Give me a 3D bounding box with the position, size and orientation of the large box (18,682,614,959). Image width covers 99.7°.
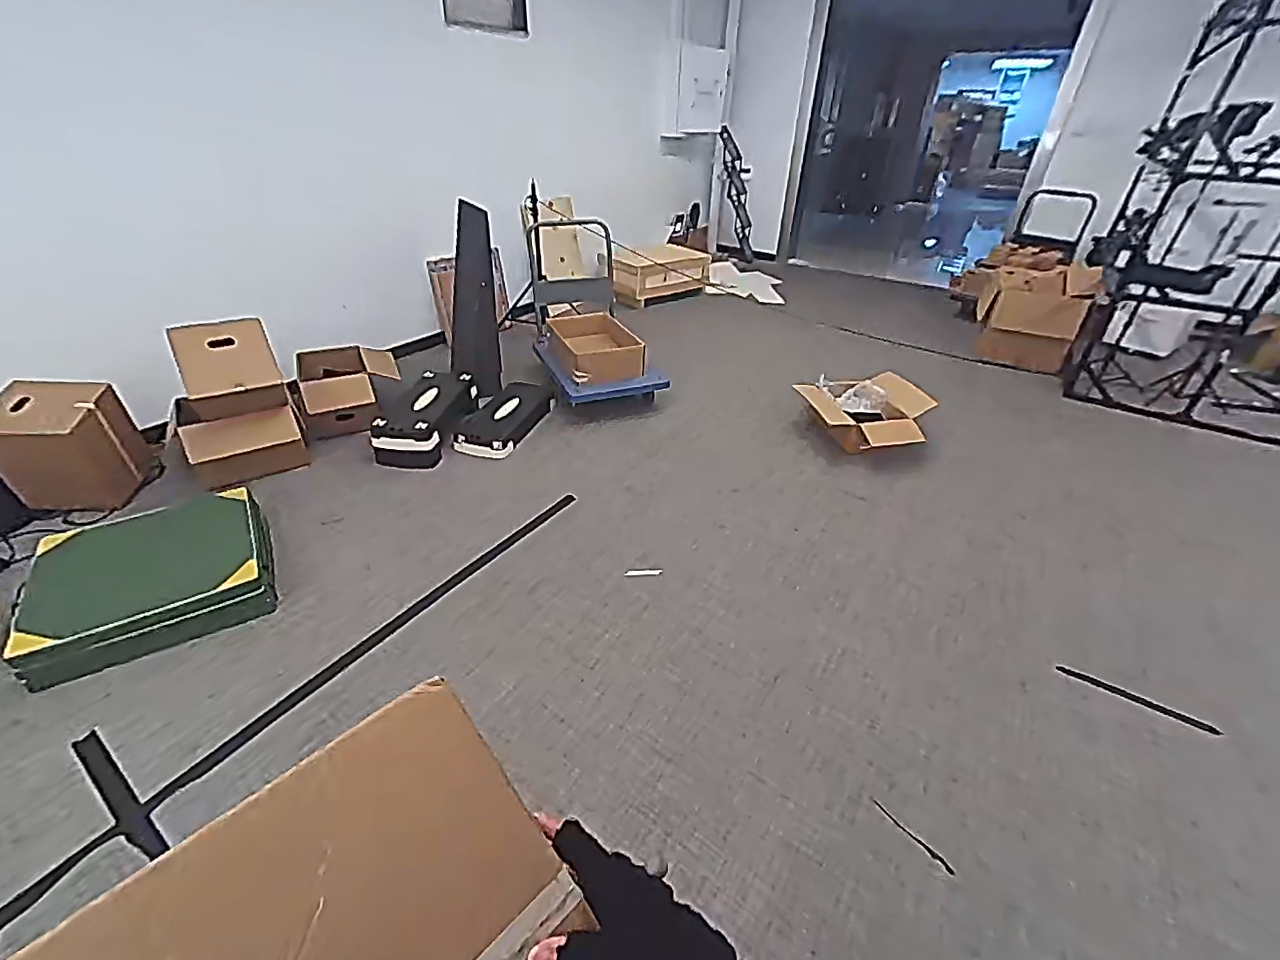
[{"bbox_3d":[-0.248,0.407,0.351,0.408,0.320,0.320,-30,80,-35],"label":"large box"}]
